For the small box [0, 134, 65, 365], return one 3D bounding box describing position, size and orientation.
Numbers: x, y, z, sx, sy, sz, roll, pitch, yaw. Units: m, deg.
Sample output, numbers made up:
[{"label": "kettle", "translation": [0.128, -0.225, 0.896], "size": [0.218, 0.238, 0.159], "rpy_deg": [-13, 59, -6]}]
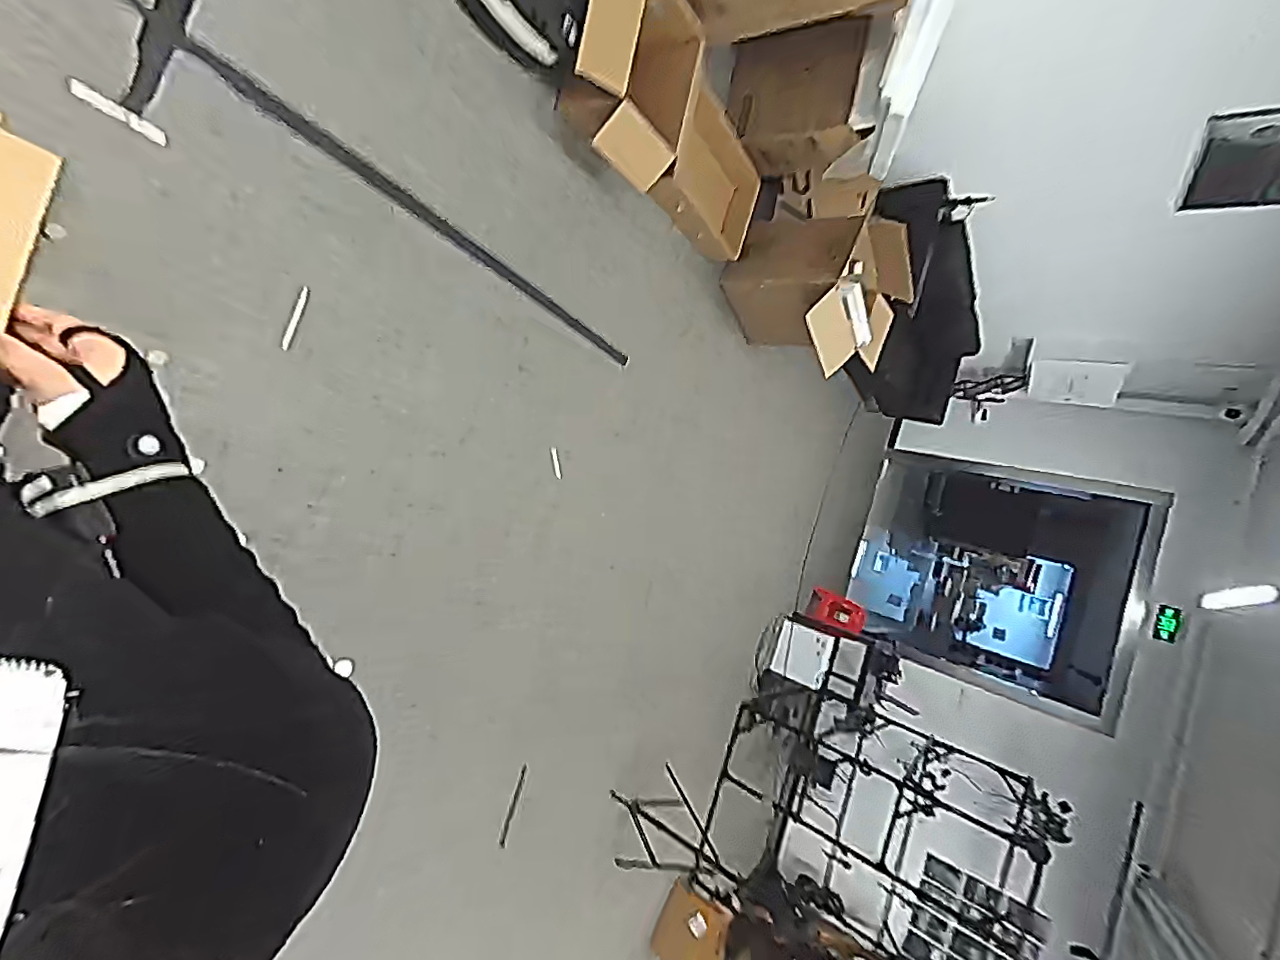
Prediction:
[{"label": "small box", "translation": [-0.574, -0.179, 0.392], "size": [0.168, 0.176, 0.179], "rpy_deg": [20, 71, -53]}]
